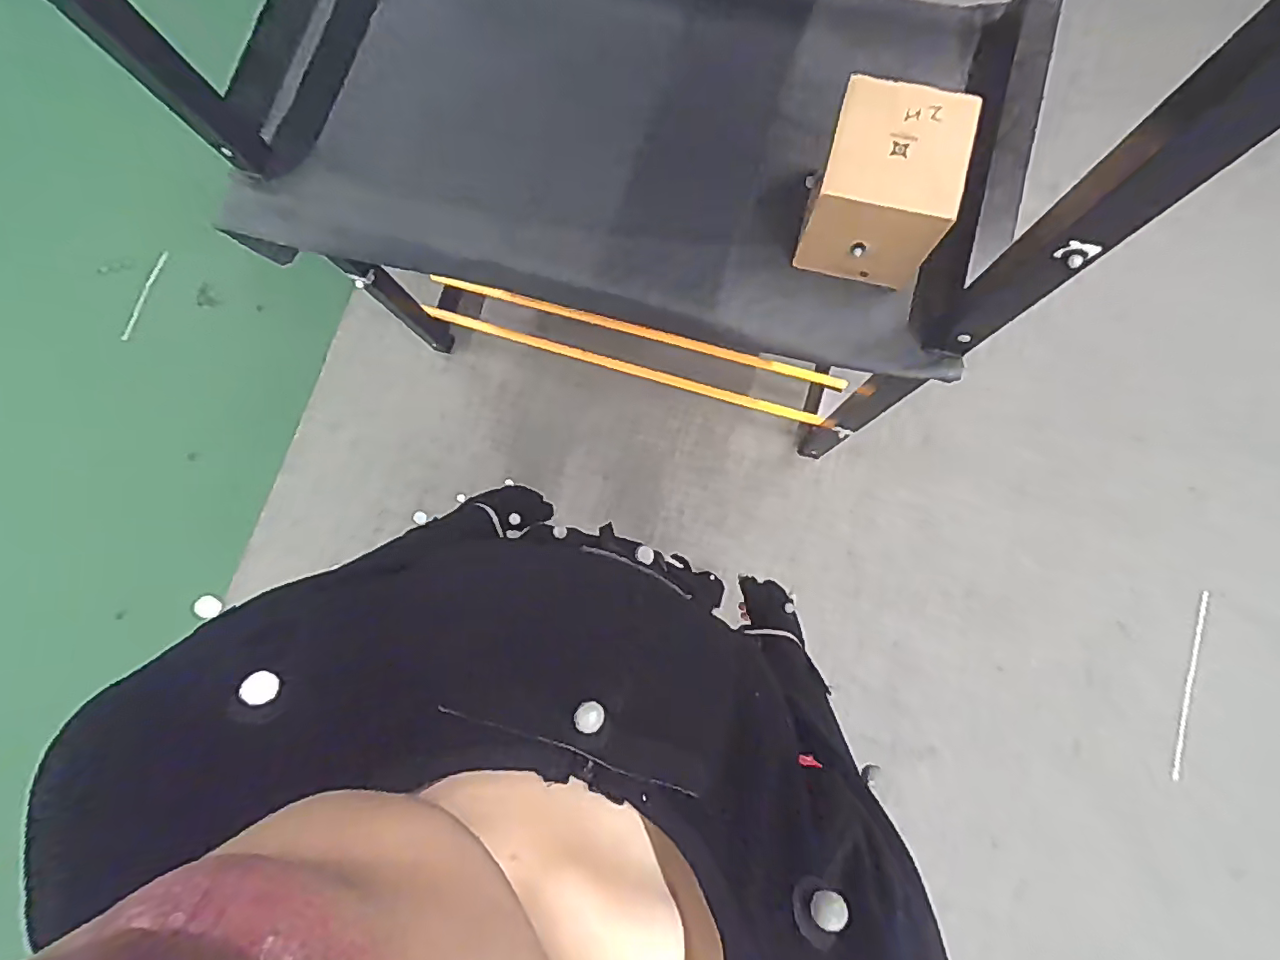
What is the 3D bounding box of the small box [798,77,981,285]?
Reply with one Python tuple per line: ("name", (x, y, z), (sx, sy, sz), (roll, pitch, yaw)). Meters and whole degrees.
("small box", (0.330, -0.400, 0.749), (0.168, 0.176, 0.179), (15, 82, 6))
